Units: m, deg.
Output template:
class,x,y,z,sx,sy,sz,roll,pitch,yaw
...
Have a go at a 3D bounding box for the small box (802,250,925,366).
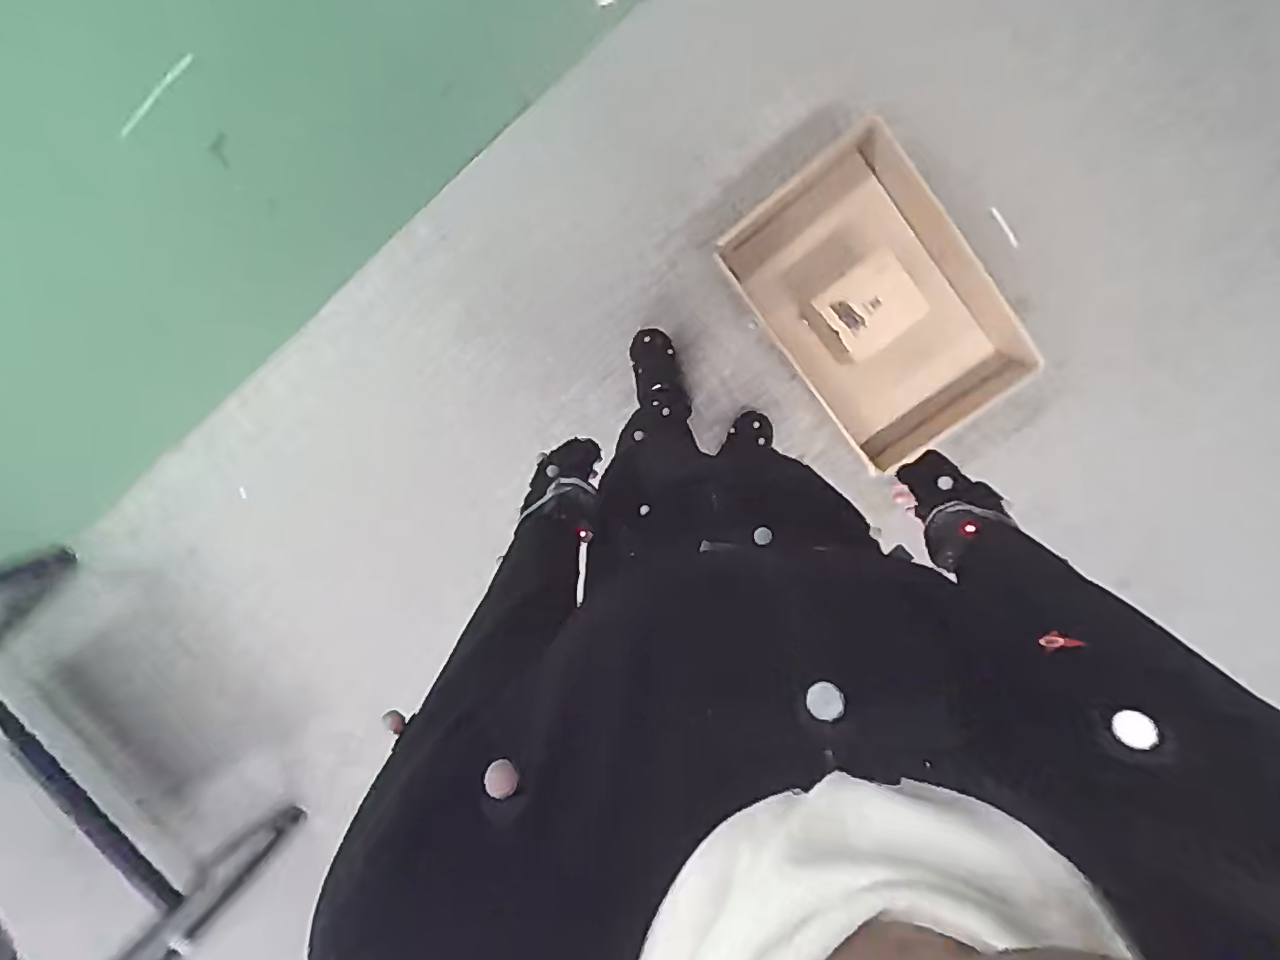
class,x,y,z,sx,sy,sz,roll,pitch,yaw
small box,0.472,-0.363,1.180,0.179,0.176,0.168,-37,95,12
